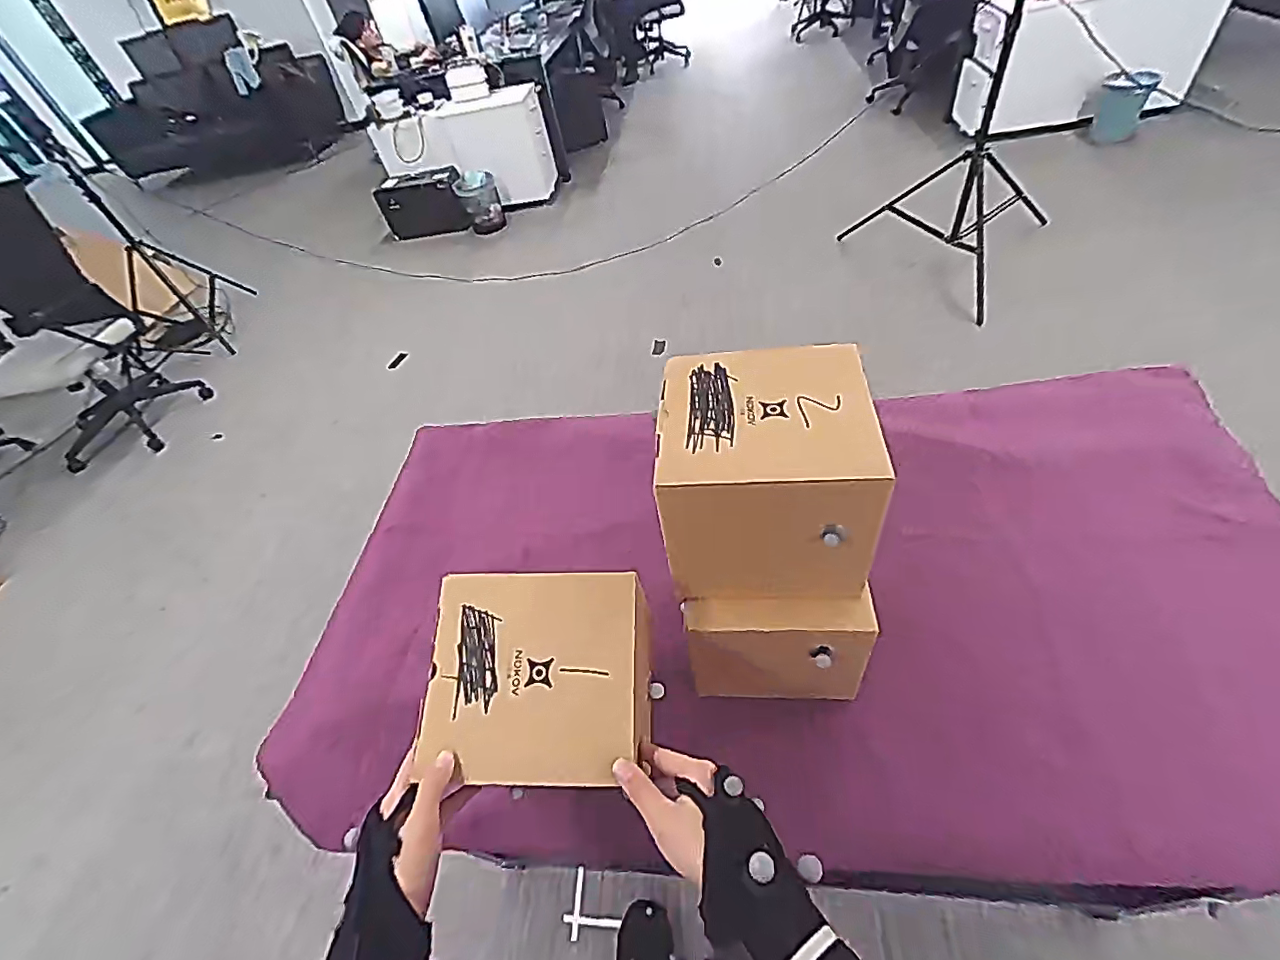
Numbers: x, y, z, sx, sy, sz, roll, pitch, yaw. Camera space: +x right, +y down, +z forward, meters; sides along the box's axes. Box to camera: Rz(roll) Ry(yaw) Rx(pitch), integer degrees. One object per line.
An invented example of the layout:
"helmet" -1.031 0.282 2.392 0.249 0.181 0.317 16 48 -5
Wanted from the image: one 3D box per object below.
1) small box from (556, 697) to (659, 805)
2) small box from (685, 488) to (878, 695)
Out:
"small box" -0.055 0.556 1.108 0.179 0.176 0.168 -4 50 9
"small box" 0.146 0.127 0.604 0.179 0.176 0.168 -3 47 10
